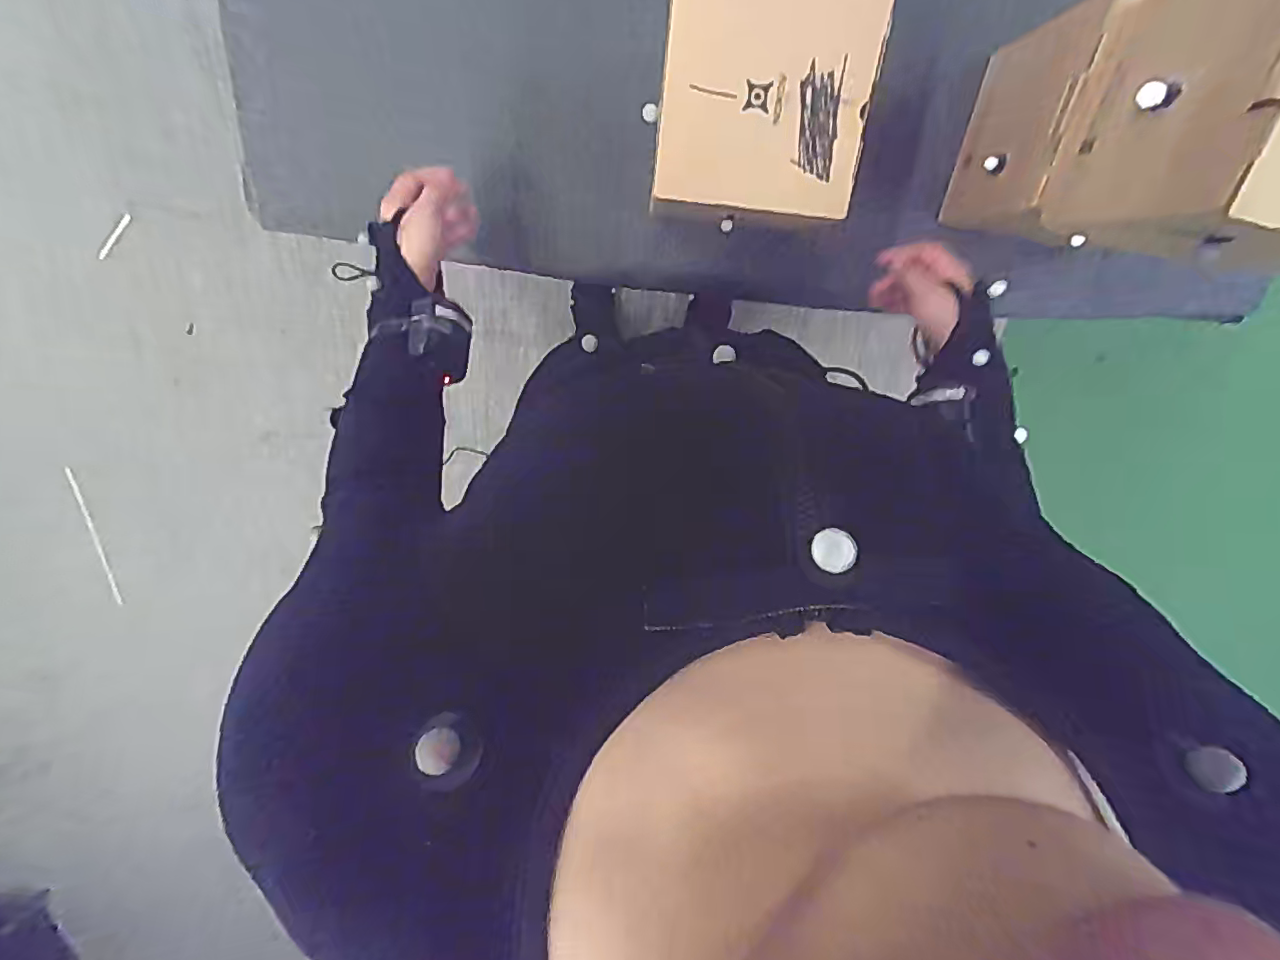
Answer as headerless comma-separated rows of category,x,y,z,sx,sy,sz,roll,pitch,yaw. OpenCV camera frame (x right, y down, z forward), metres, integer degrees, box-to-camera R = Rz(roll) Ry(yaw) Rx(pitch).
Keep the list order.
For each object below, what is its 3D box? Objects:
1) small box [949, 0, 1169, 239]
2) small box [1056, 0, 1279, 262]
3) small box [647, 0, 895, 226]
small box,0.442,-0.333,0.520,0.179,0.176,0.168,7,113,-4
small box,0.452,-0.253,0.376,0.179,0.176,0.168,11,112,-4
small box,0.102,-0.343,0.511,0.179,0.176,0.168,6,110,-1
